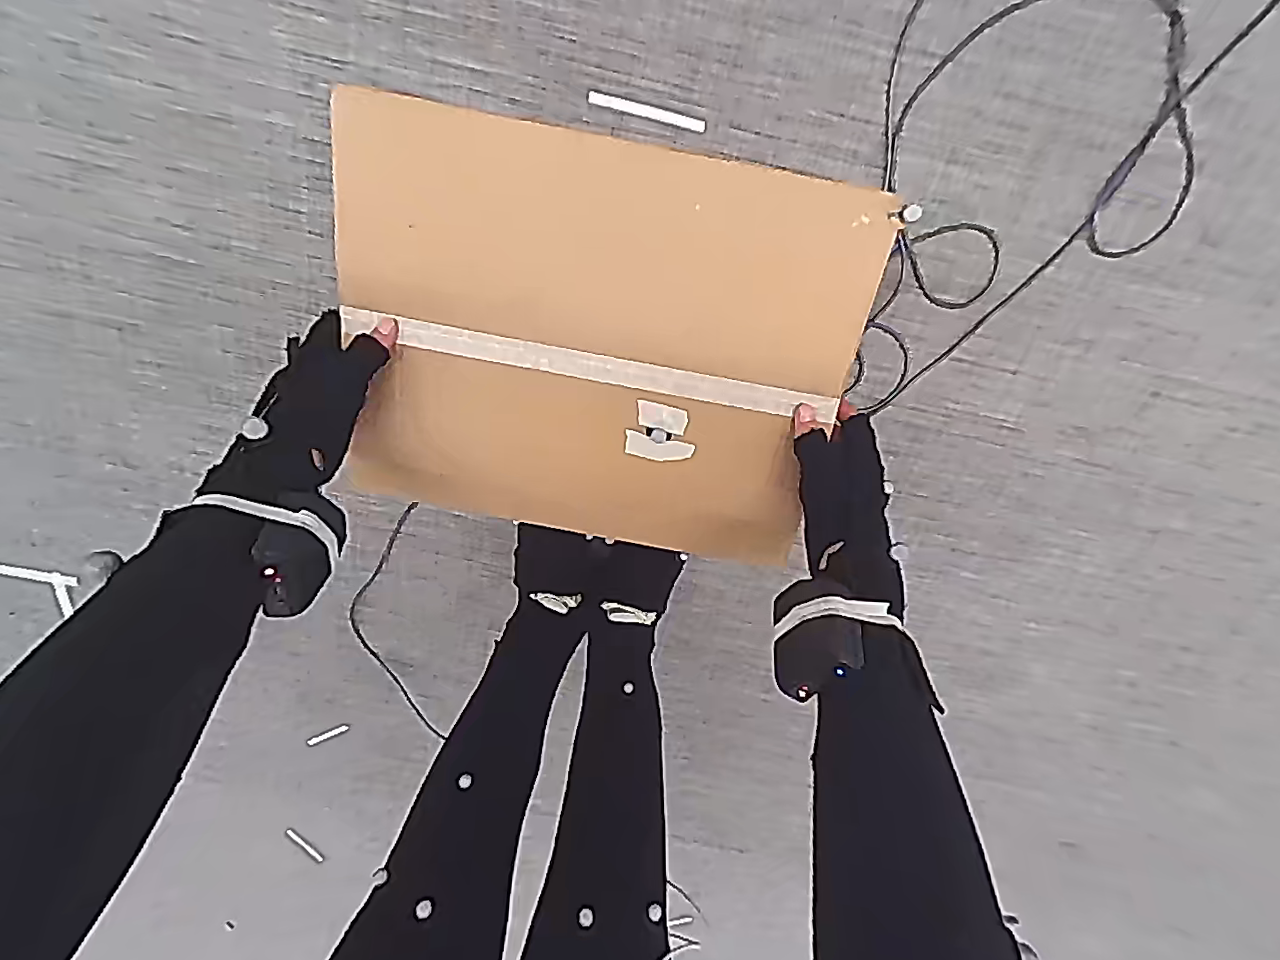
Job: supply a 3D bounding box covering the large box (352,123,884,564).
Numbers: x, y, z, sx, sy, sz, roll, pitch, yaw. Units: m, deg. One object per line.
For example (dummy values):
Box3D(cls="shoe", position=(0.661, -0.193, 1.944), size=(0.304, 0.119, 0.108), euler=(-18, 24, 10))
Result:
Box3D(cls="large box", position=(-0.032, -0.146, 0.588), size=(0.408, 0.320, 0.320), euler=(10, 114, -1))
